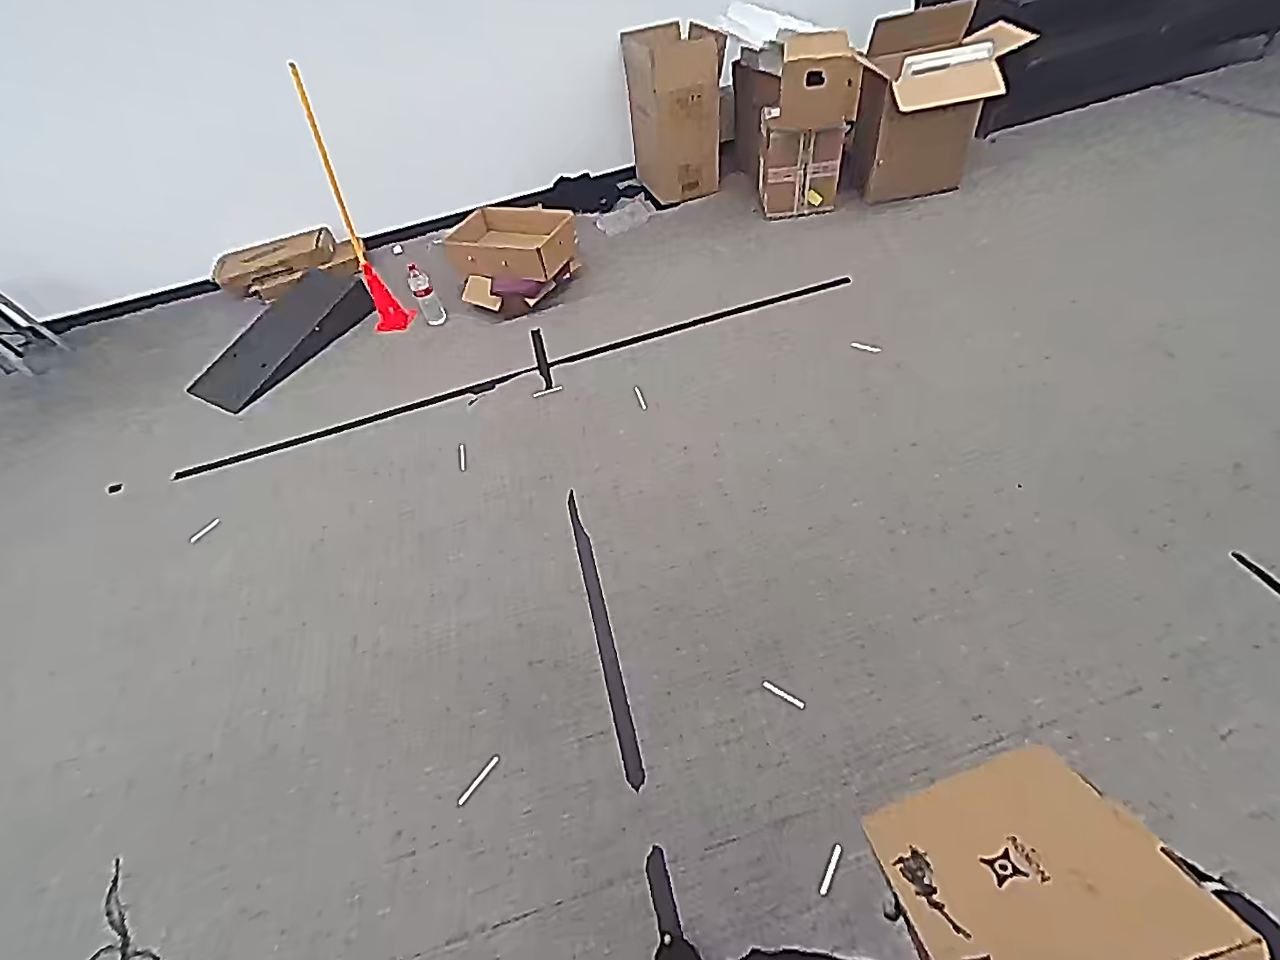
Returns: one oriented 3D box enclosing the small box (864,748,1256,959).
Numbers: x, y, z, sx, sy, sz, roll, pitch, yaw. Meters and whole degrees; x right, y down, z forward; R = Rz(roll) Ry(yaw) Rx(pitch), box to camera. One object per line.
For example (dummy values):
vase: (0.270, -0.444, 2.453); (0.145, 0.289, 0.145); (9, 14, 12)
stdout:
small box: (0.312, 0.358, 0.418); (0.179, 0.176, 0.168); (-25, 11, 4)
